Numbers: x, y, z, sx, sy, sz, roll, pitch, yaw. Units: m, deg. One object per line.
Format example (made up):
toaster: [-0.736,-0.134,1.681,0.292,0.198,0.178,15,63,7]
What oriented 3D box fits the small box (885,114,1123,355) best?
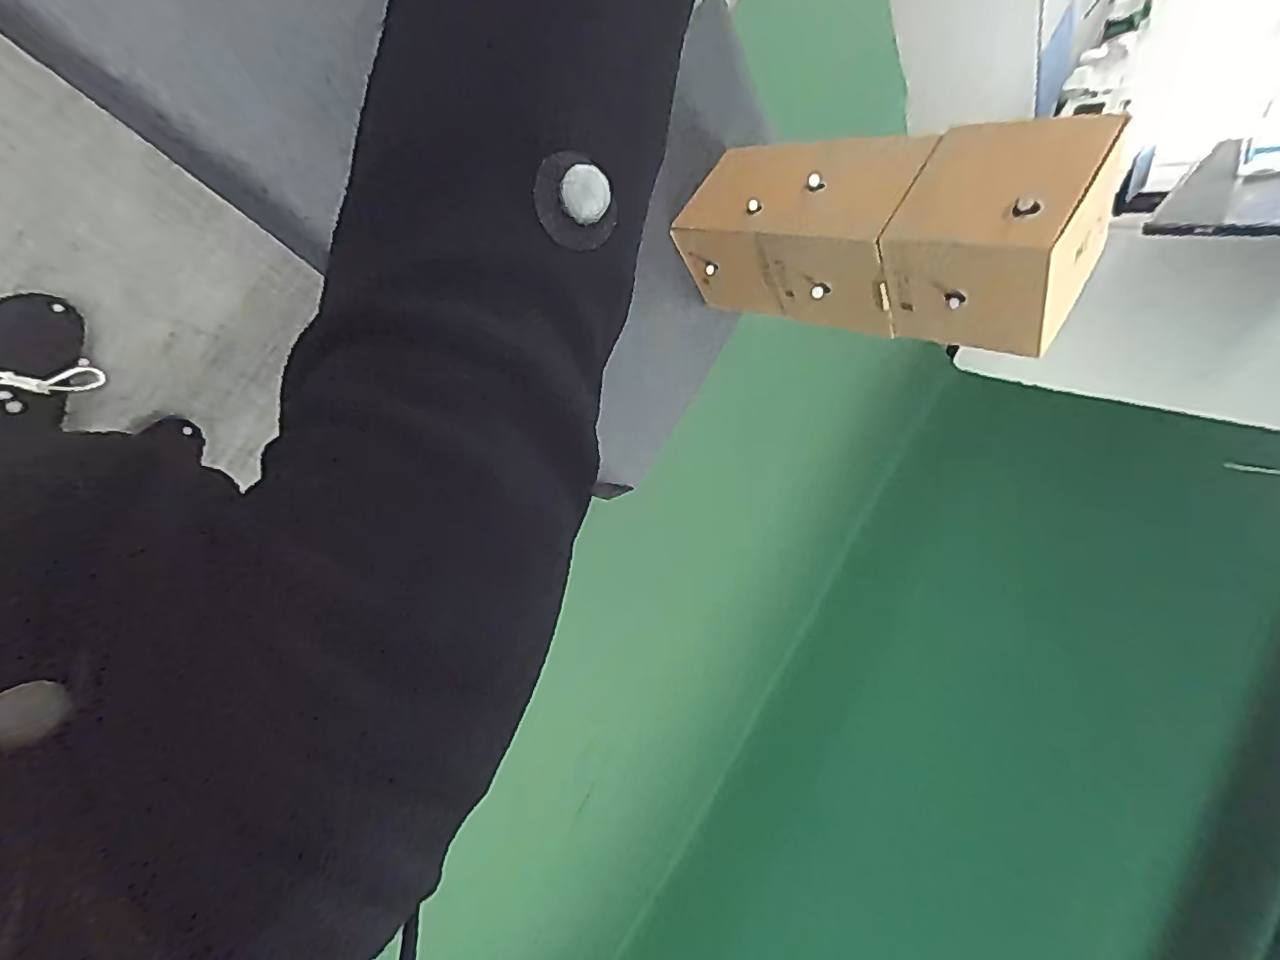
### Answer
small box: [0.398,-0.275,0.619,0.179,0.176,0.168,-56,141,-8]

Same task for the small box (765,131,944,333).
small box: [0.287,-0.331,0.729,0.179,0.176,0.168,-54,140,-8]

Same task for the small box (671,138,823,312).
small box: [0.179,-0.393,0.835,0.179,0.176,0.168,-55,140,-9]
